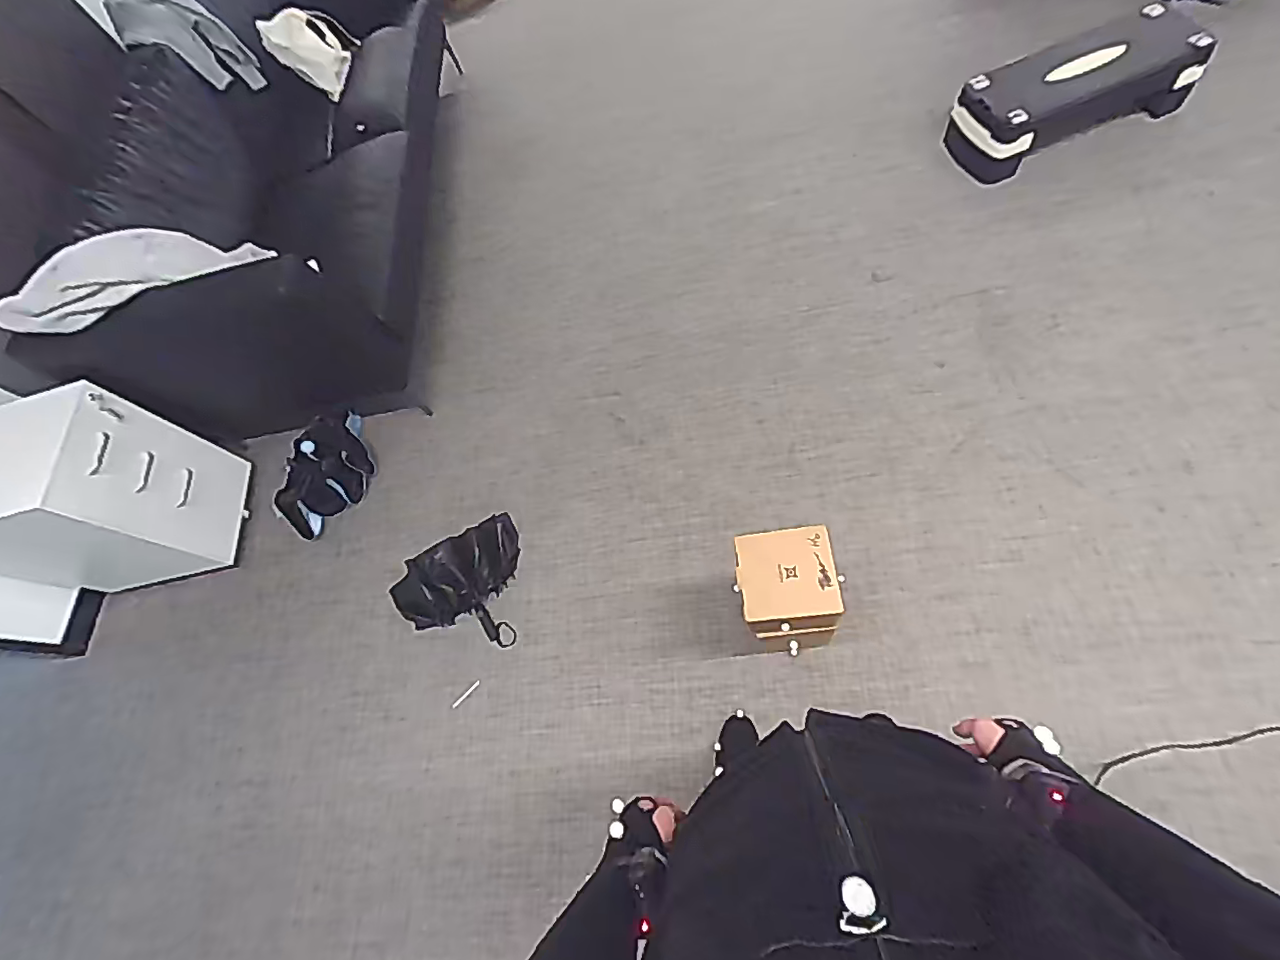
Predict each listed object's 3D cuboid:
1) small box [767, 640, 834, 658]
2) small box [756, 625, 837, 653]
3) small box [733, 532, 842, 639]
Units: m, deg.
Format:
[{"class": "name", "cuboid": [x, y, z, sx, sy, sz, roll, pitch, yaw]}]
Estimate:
[{"class": "small box", "cuboid": [0.378, 0.341, 1.358, 0.168, 0.176, 0.179, -12, 65, 10]}, {"class": "small box", "cuboid": [0.332, 0.281, 1.212, 0.168, 0.176, 0.179, -11, 64, 11]}, {"class": "small box", "cuboid": [0.289, 0.214, 1.068, 0.179, 0.176, 0.168, -9, 65, 12]}]
